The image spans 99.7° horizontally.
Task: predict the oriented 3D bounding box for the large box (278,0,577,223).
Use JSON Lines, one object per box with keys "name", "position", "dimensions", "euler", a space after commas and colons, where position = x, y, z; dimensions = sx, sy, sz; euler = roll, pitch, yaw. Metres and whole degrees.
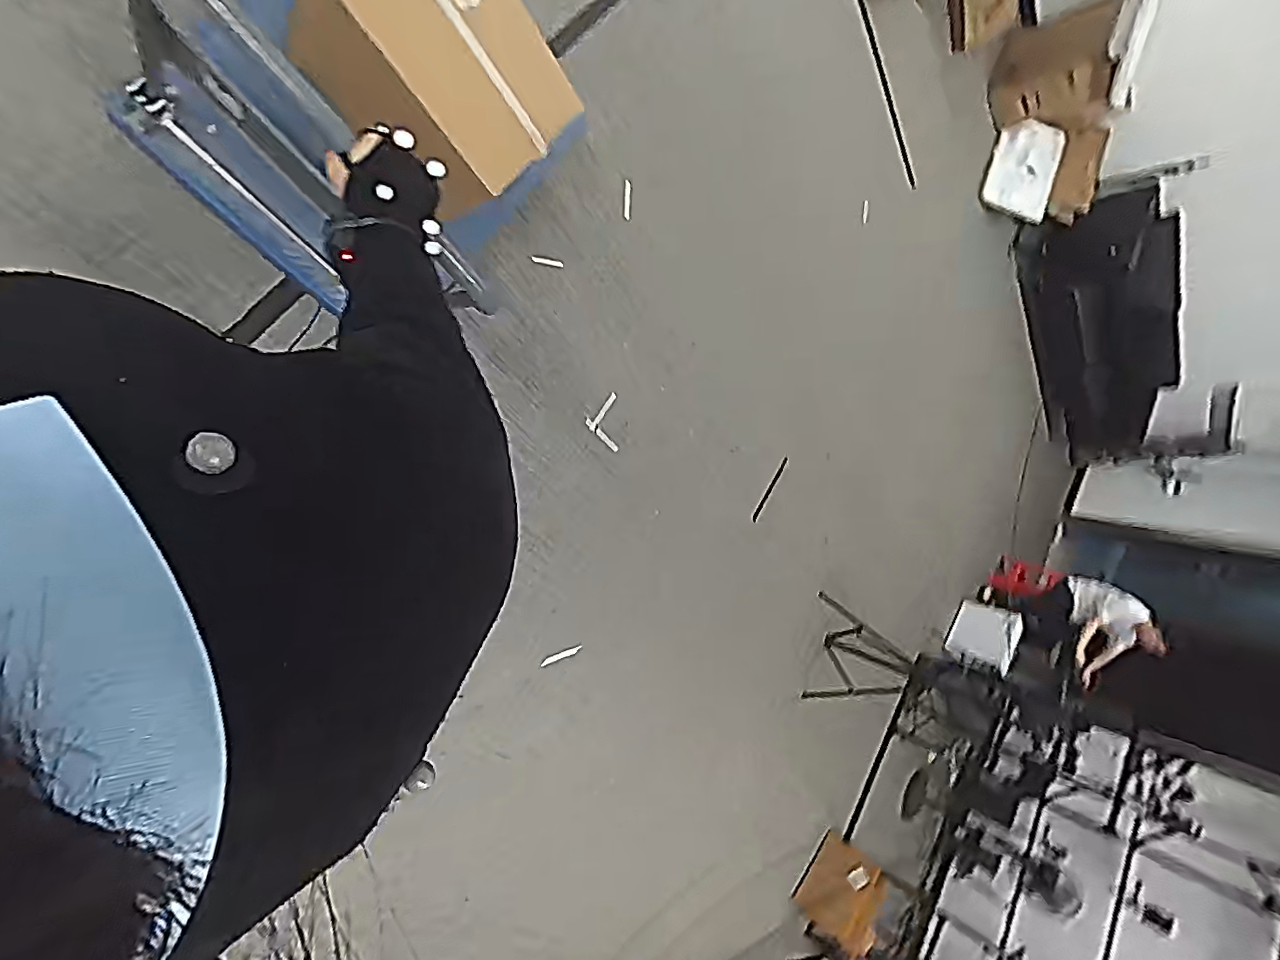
{"name": "large box", "position": [-0.412, -0.809, 1.079], "dimensions": [0.408, 0.320, 0.320], "euler": [47, 67, -35]}
